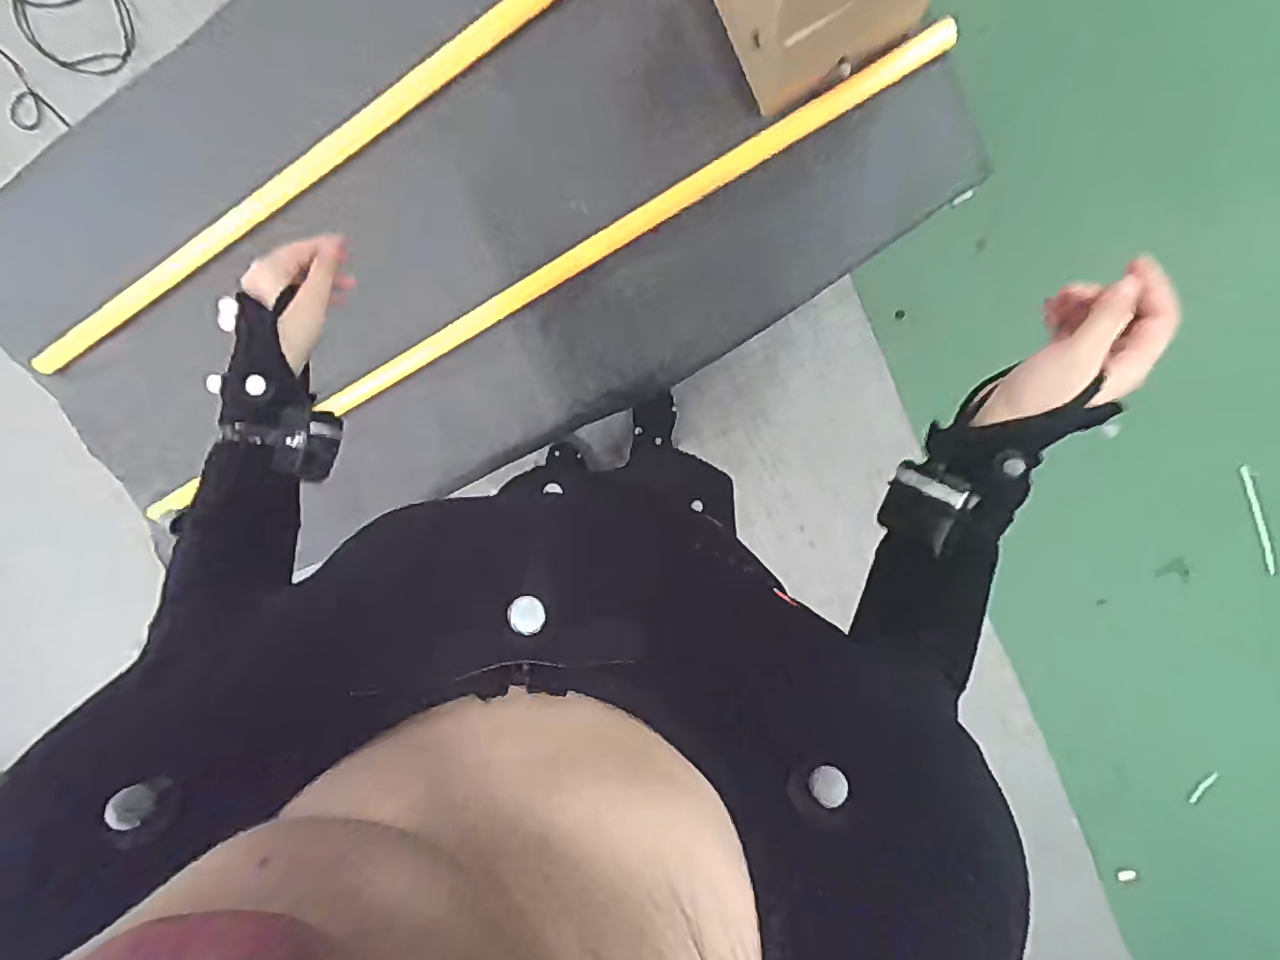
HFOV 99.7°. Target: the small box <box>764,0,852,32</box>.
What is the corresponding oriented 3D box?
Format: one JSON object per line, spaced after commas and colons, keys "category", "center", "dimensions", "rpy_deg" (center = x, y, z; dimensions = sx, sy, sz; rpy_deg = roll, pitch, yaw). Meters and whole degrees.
{"category": "small box", "center": [0.148, -0.433, 0.328], "dimensions": [0.179, 0.176, 0.168], "rpy_deg": [-21, 103, 11]}
